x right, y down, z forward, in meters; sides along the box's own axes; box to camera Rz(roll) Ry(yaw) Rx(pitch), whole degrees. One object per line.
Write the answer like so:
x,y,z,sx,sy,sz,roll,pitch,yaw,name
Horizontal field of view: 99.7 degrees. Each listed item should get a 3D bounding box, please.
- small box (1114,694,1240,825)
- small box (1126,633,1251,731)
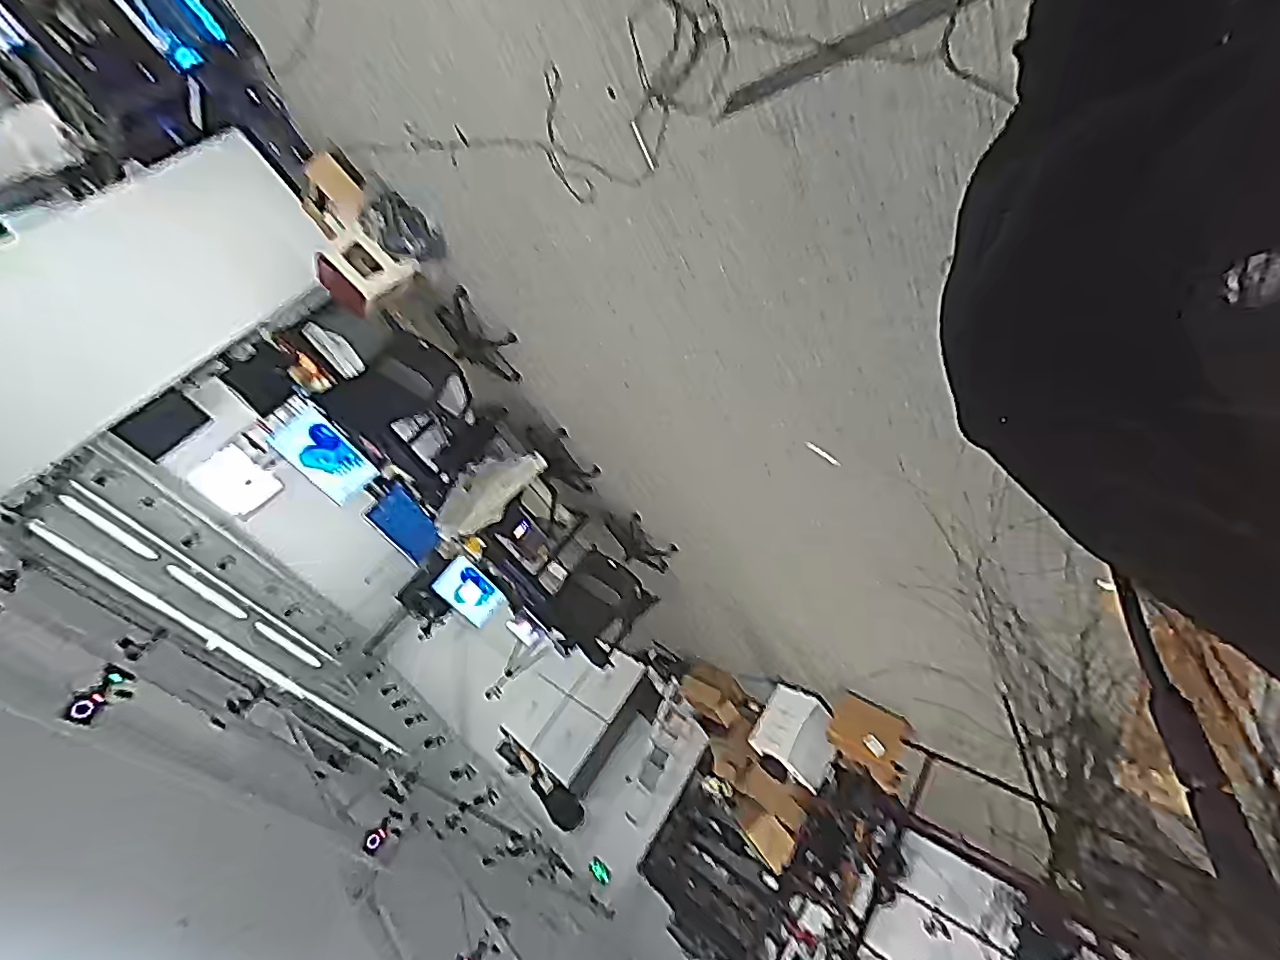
1.180,0.609,1.191,0.168,0.176,0.179,13,146,42,small box
1.265,0.482,1.252,0.179,0.176,0.168,11,145,44,small box
